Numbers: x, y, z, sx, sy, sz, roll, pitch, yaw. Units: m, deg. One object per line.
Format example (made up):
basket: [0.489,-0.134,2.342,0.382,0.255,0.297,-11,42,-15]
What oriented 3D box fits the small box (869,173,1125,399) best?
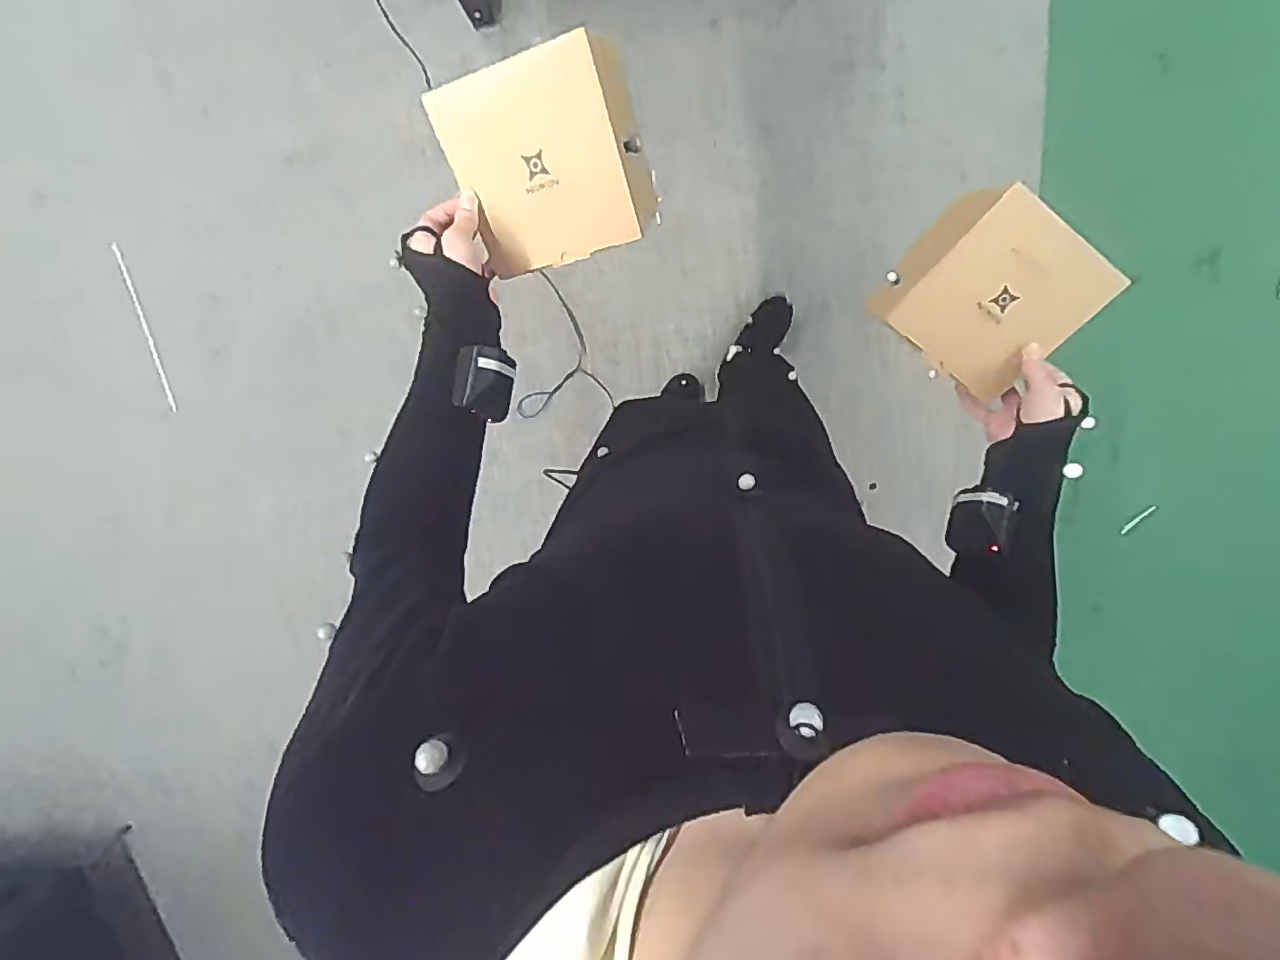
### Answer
small box: [0.402,-0.232,0.654,0.168,0.176,0.179,37,116,-5]

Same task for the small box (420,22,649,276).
small box: [-0.095,-0.349,0.584,0.168,0.176,0.179,-11,124,15]
